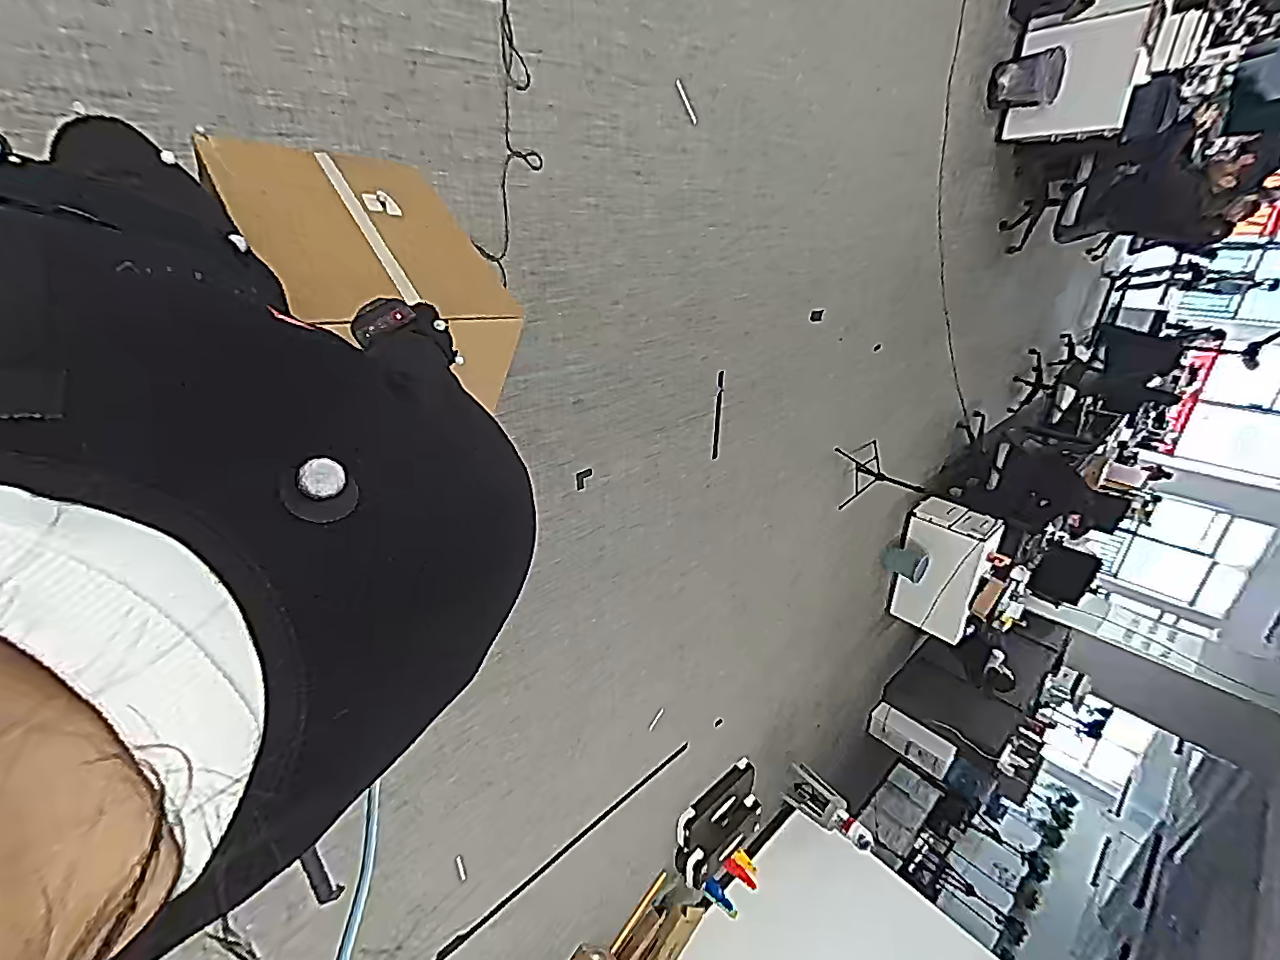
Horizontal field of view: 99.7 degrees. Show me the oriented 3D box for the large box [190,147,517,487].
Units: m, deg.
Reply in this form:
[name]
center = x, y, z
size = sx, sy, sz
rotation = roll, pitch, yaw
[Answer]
[large box]
center = -0.463, -0.258, 0.878
size = 0.320, 0.408, 0.320
rotation = -17, 150, -43
